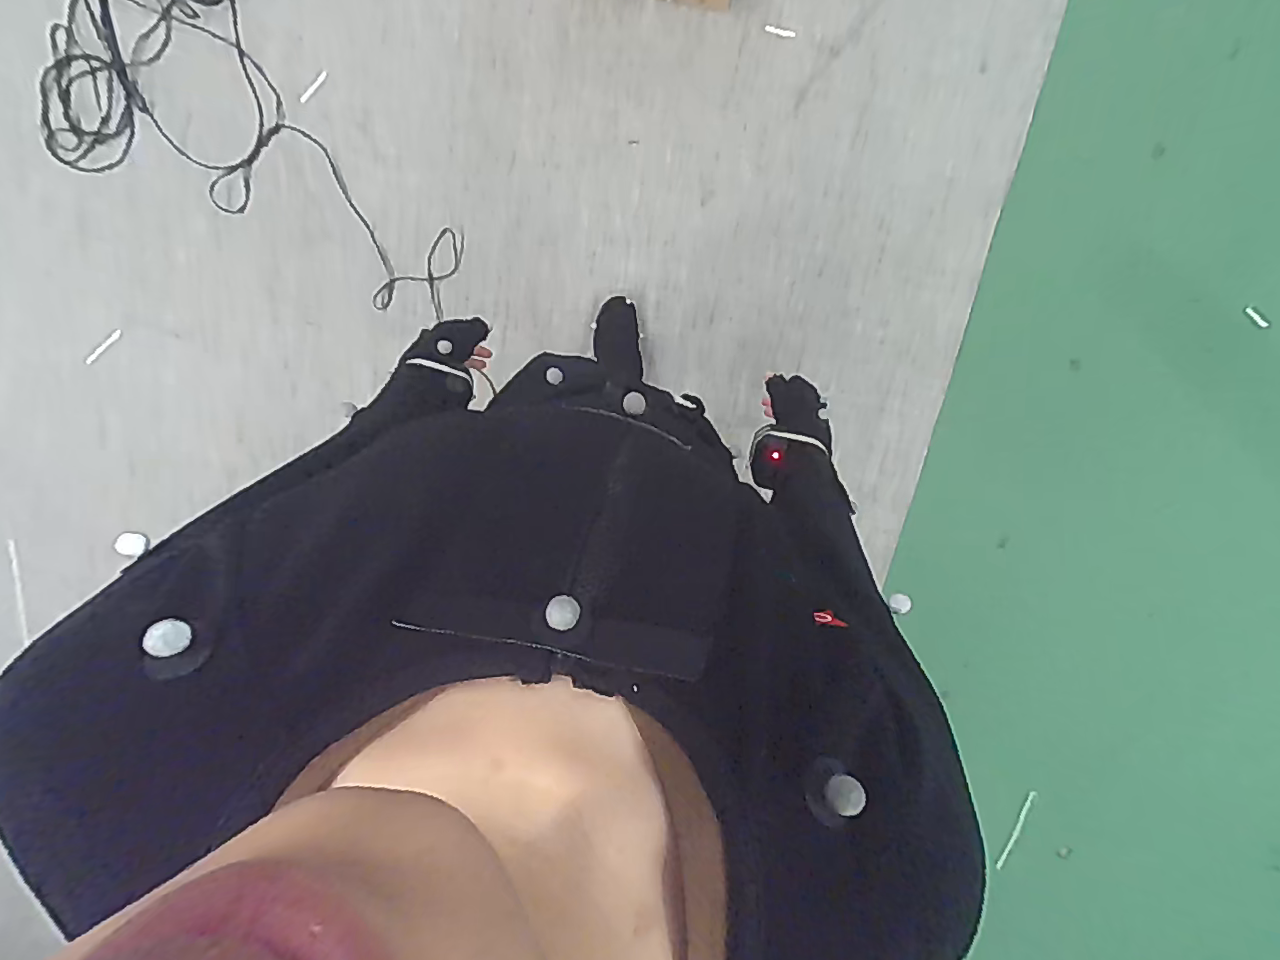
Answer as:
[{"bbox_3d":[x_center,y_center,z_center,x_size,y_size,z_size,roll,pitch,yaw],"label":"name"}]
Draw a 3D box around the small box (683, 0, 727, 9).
[{"bbox_3d":[0.123,-1.129,1.117,0.168,0.176,0.179,10,103,0],"label":"small box"}]
